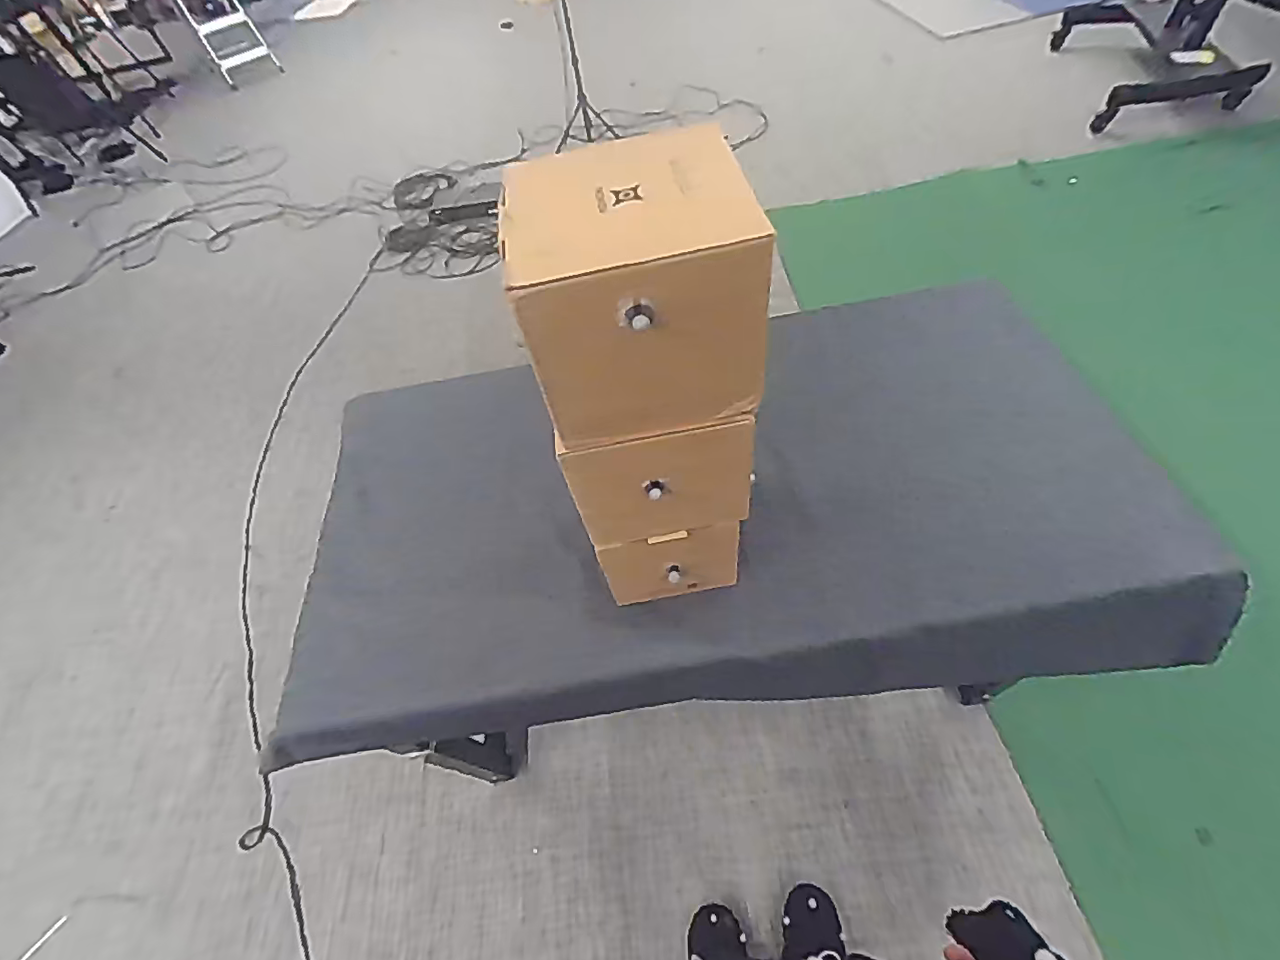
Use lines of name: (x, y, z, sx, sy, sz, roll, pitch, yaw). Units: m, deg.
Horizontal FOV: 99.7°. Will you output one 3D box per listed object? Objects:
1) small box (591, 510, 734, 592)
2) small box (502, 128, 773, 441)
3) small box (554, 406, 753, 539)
small box: (0.026, 0.035, 0.713, 0.168, 0.176, 0.179, -11, 56, 1)
small box: (-0.002, -0.151, 0.447, 0.179, 0.176, 0.168, -11, 56, 0)
small box: (0.013, -0.055, 0.576, 0.179, 0.176, 0.168, -10, 55, 2)
